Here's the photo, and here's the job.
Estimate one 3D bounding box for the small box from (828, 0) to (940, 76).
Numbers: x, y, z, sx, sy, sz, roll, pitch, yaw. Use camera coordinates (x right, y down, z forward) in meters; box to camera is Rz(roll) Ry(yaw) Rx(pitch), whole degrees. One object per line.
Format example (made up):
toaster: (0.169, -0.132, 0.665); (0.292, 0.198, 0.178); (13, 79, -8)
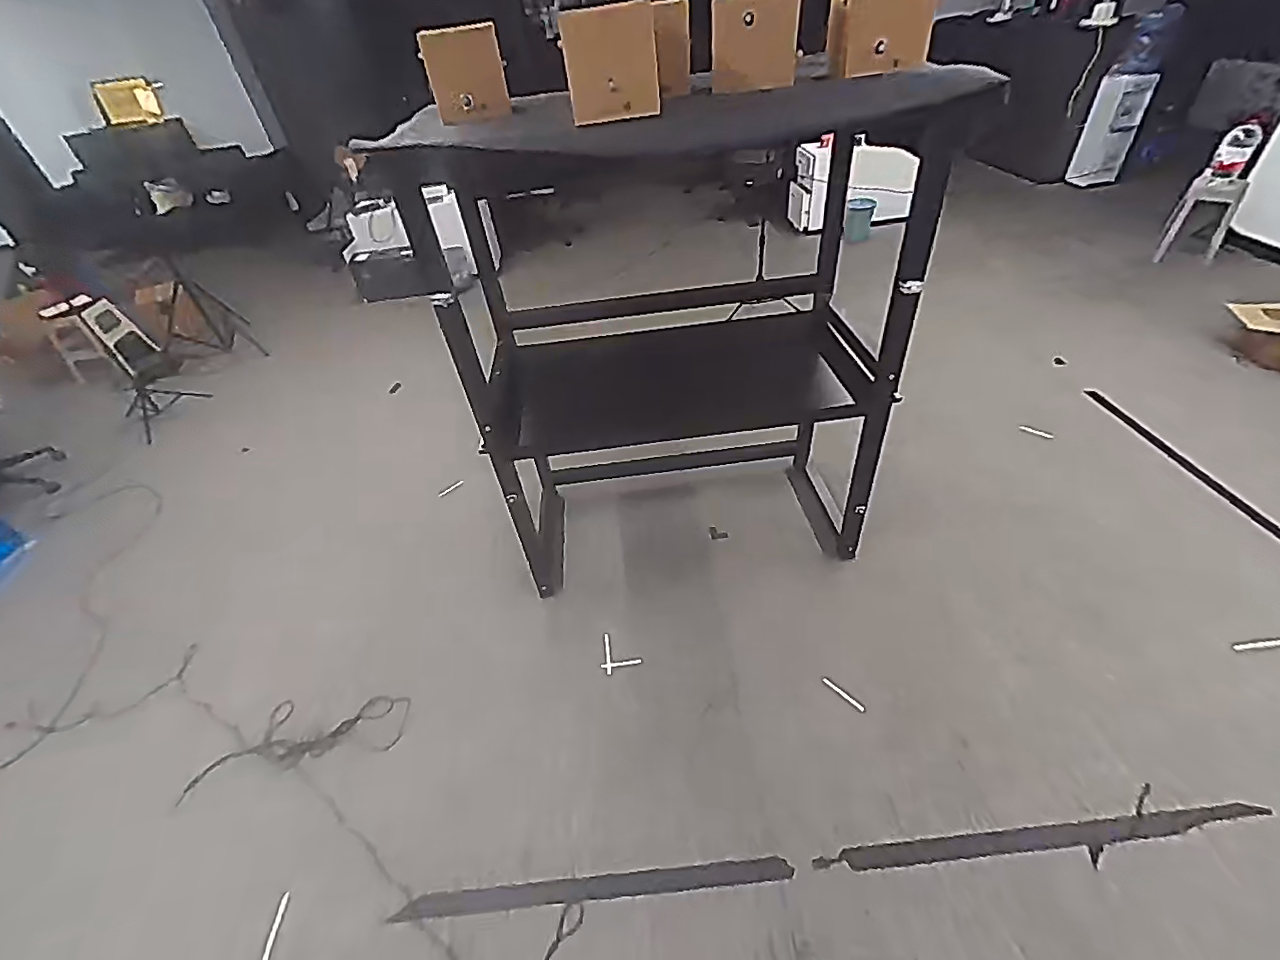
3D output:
small box: (0.504, -0.963, 1.133); (0.168, 0.176, 0.179); (-4, 42, 5)

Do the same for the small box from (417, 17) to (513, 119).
small box: (-0.399, -0.952, 1.252); (0.168, 0.176, 0.179); (-14, 43, -6)

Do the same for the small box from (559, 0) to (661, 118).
small box: (-0.052, -0.807, 1.034); (0.168, 0.176, 0.179); (-6, 40, 3)
